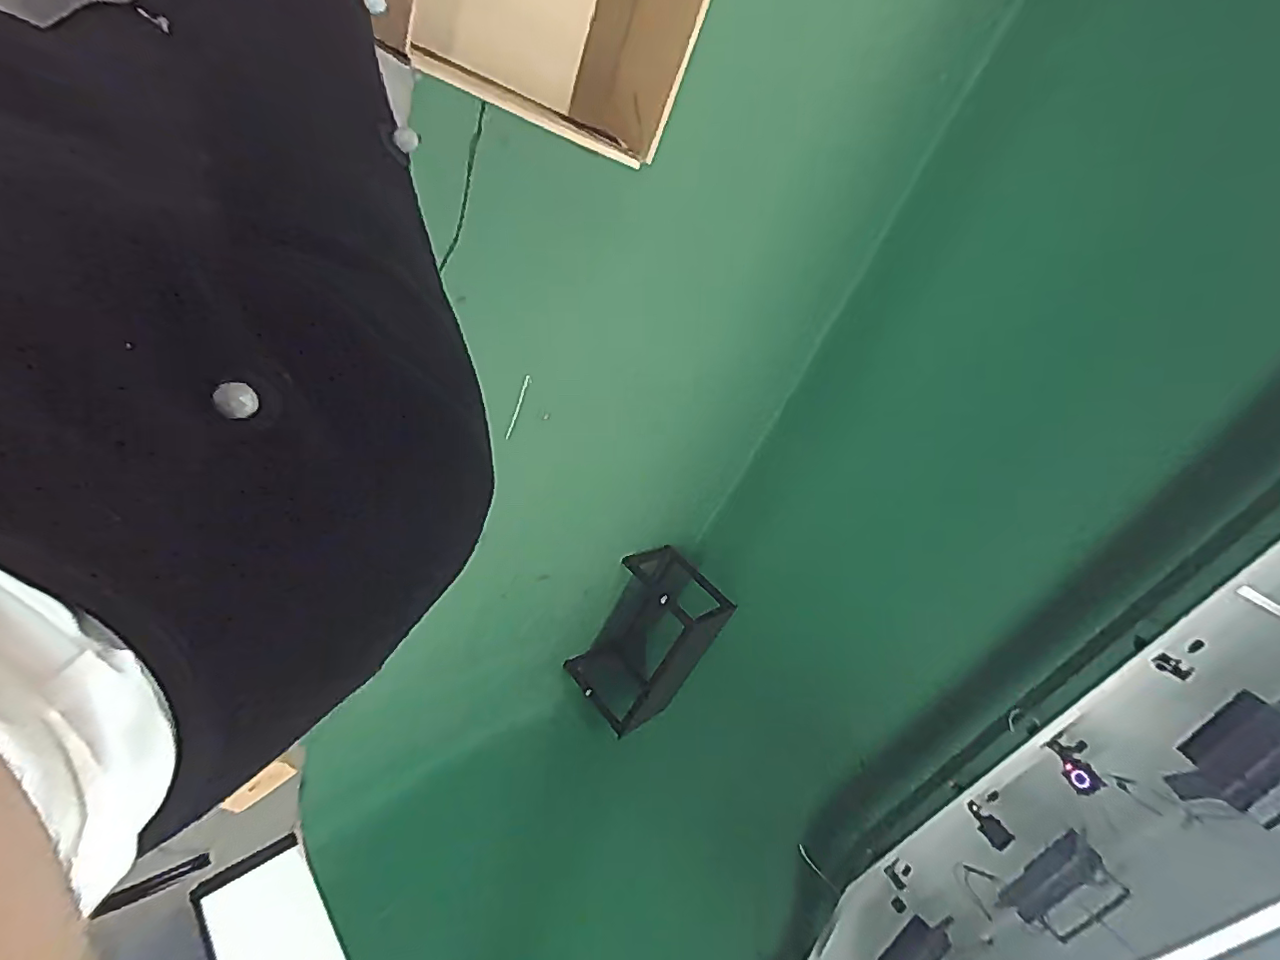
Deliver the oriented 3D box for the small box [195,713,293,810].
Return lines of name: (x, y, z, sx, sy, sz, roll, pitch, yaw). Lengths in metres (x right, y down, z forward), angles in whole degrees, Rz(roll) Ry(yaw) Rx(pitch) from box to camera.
small box: (-1.195, 0.843, 1.626, 0.179, 0.176, 0.168, -33, 149, -26)
